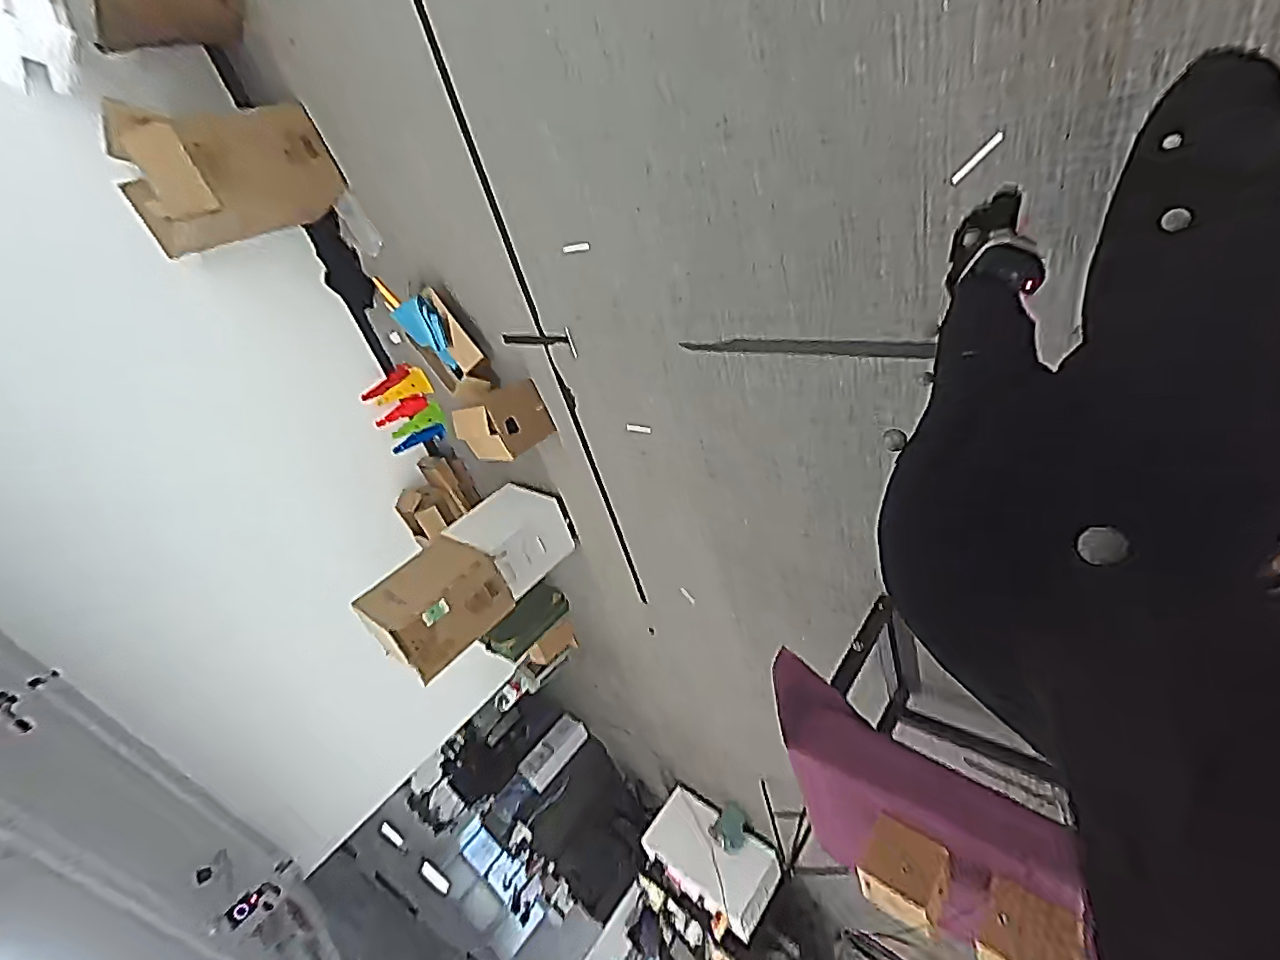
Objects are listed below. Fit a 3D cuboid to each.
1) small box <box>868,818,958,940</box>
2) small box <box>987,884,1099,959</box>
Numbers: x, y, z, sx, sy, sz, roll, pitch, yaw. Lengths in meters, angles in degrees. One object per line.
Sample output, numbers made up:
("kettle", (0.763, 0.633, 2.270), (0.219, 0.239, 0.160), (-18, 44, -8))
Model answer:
("small box", (0.735, 1.055, 1.444), (0.179, 0.176, 0.168), (9, 130, 43))
("small box", (0.931, 1.083, 1.247), (0.179, 0.176, 0.168), (4, 128, 46))
